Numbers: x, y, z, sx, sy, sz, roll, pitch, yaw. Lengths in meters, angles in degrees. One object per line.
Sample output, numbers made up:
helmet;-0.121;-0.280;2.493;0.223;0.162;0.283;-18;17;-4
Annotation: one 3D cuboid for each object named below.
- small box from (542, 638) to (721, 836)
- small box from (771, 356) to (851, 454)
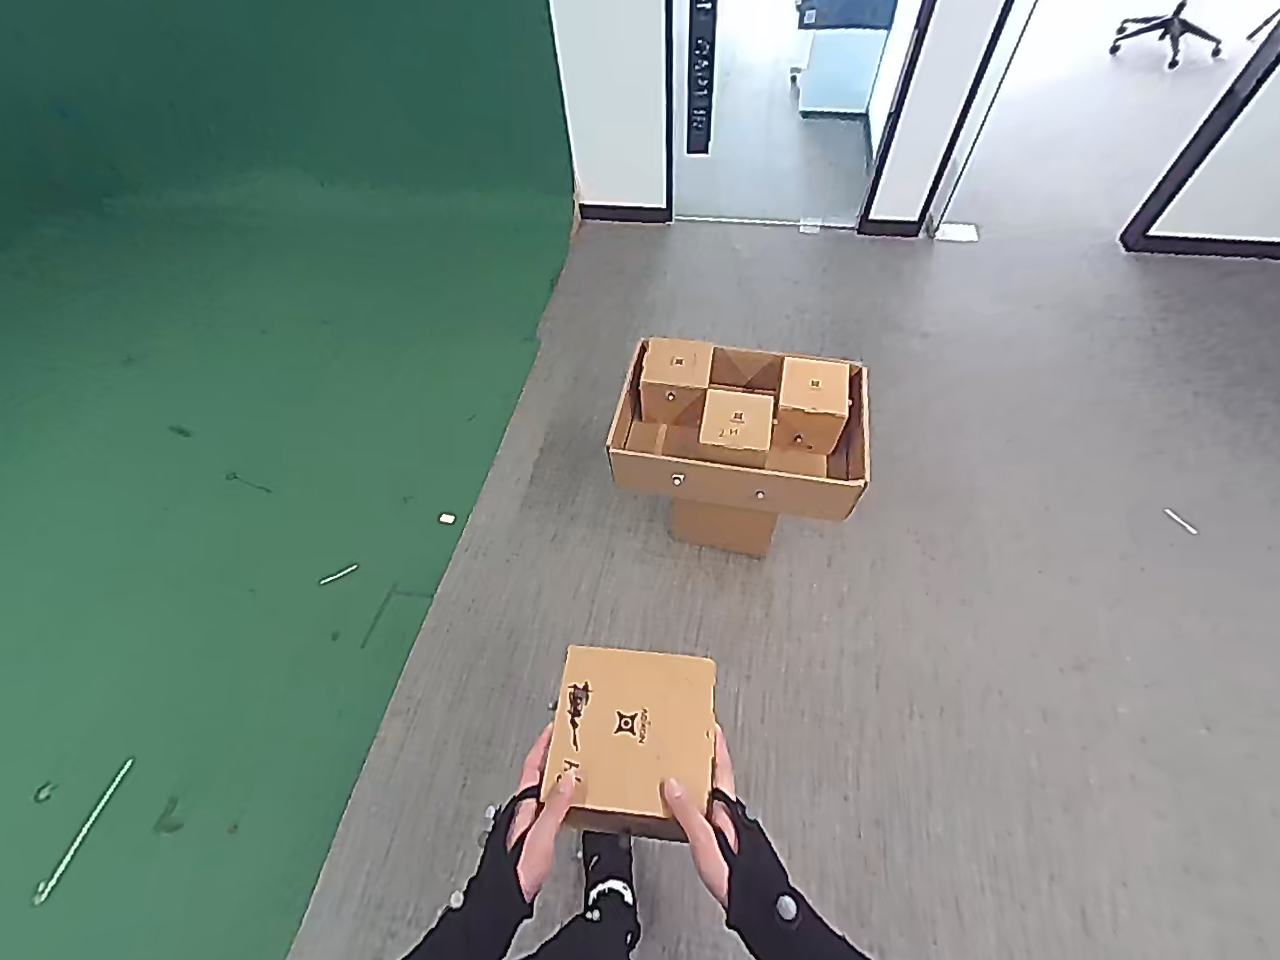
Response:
small box;-0.005;0.309;0.643;0.179;0.176;0.168;6;50;3
small box;0.443;-0.194;1.411;0.168;0.176;0.179;9;58;9
